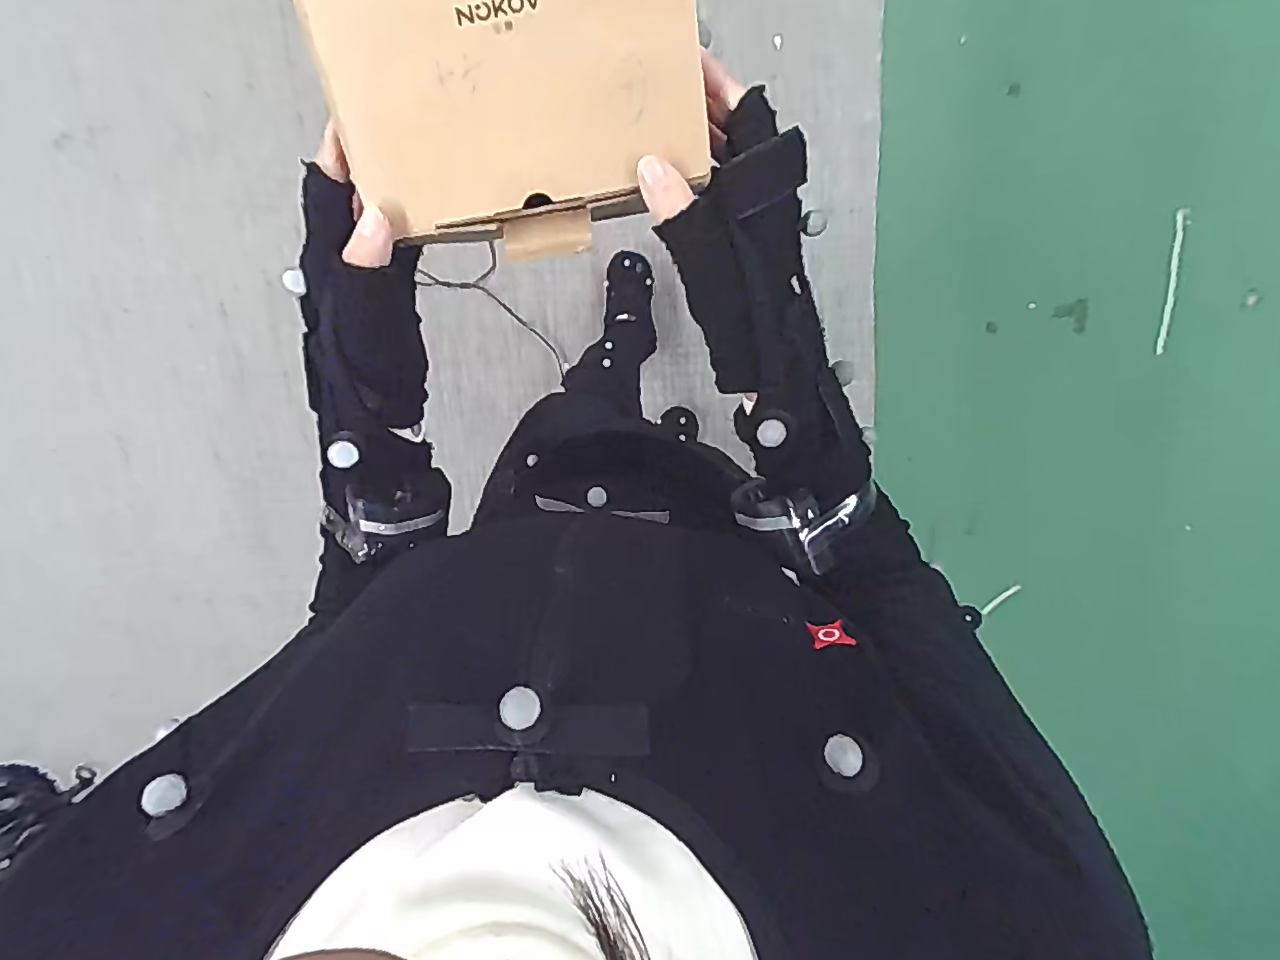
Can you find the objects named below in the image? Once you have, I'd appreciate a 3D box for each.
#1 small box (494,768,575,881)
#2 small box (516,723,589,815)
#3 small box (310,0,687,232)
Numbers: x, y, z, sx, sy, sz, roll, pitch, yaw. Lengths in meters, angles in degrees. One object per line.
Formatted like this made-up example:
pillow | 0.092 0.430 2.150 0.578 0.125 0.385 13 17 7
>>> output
small box | -0.263 0.864 1.370 0.168 0.176 0.179 2 105 4
small box | -0.244 0.817 1.541 0.179 0.176 0.168 0 105 1
small box | -0.066 -0.256 0.317 0.168 0.176 0.179 -10 114 7
